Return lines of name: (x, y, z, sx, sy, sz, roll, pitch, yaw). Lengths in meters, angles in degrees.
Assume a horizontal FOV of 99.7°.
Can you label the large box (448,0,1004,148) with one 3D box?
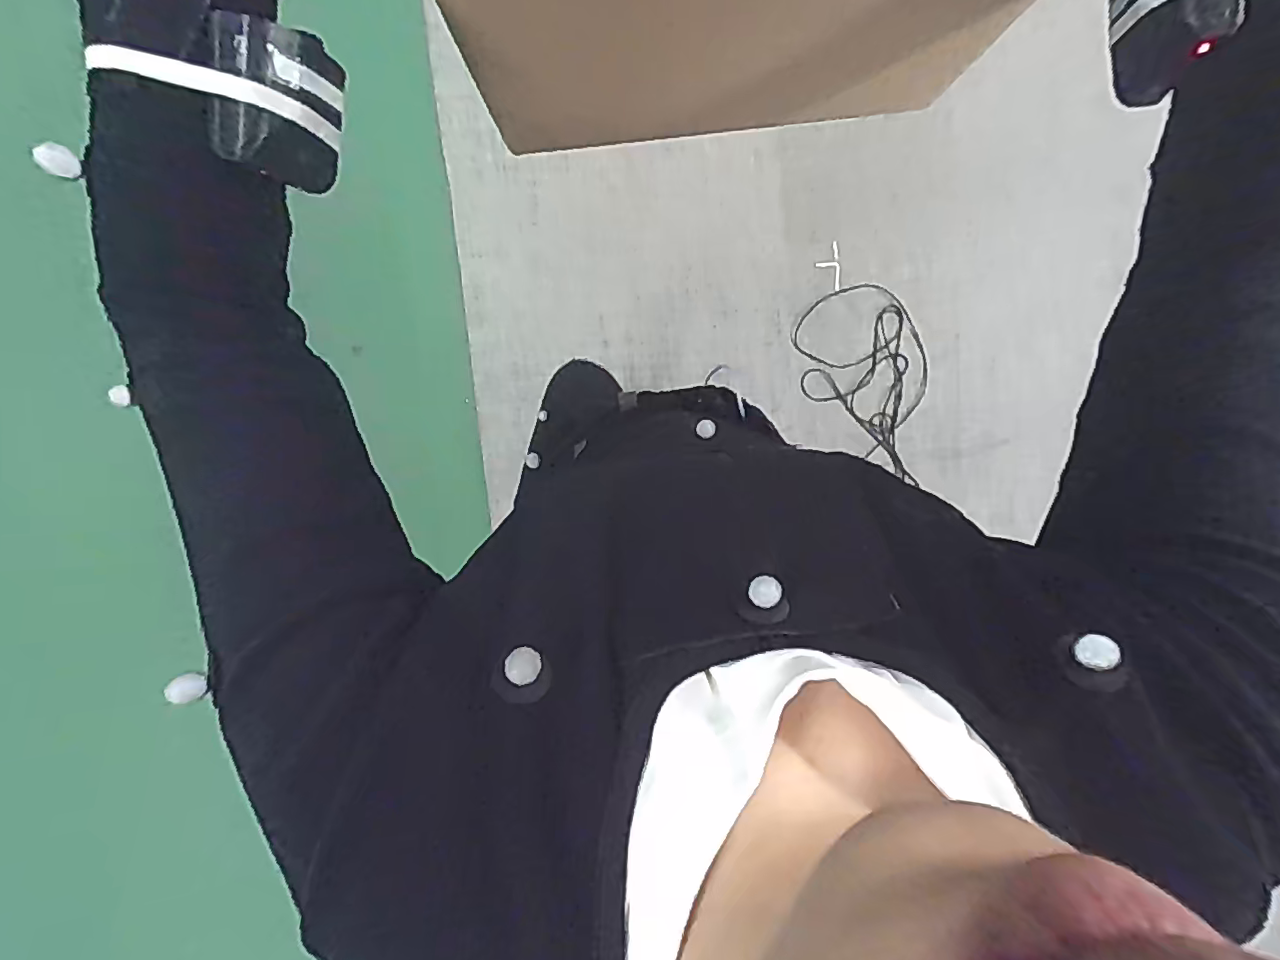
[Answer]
large box: (0.056, -0.468, 0.348, 0.408, 0.320, 0.320, -7, 99, -1)
